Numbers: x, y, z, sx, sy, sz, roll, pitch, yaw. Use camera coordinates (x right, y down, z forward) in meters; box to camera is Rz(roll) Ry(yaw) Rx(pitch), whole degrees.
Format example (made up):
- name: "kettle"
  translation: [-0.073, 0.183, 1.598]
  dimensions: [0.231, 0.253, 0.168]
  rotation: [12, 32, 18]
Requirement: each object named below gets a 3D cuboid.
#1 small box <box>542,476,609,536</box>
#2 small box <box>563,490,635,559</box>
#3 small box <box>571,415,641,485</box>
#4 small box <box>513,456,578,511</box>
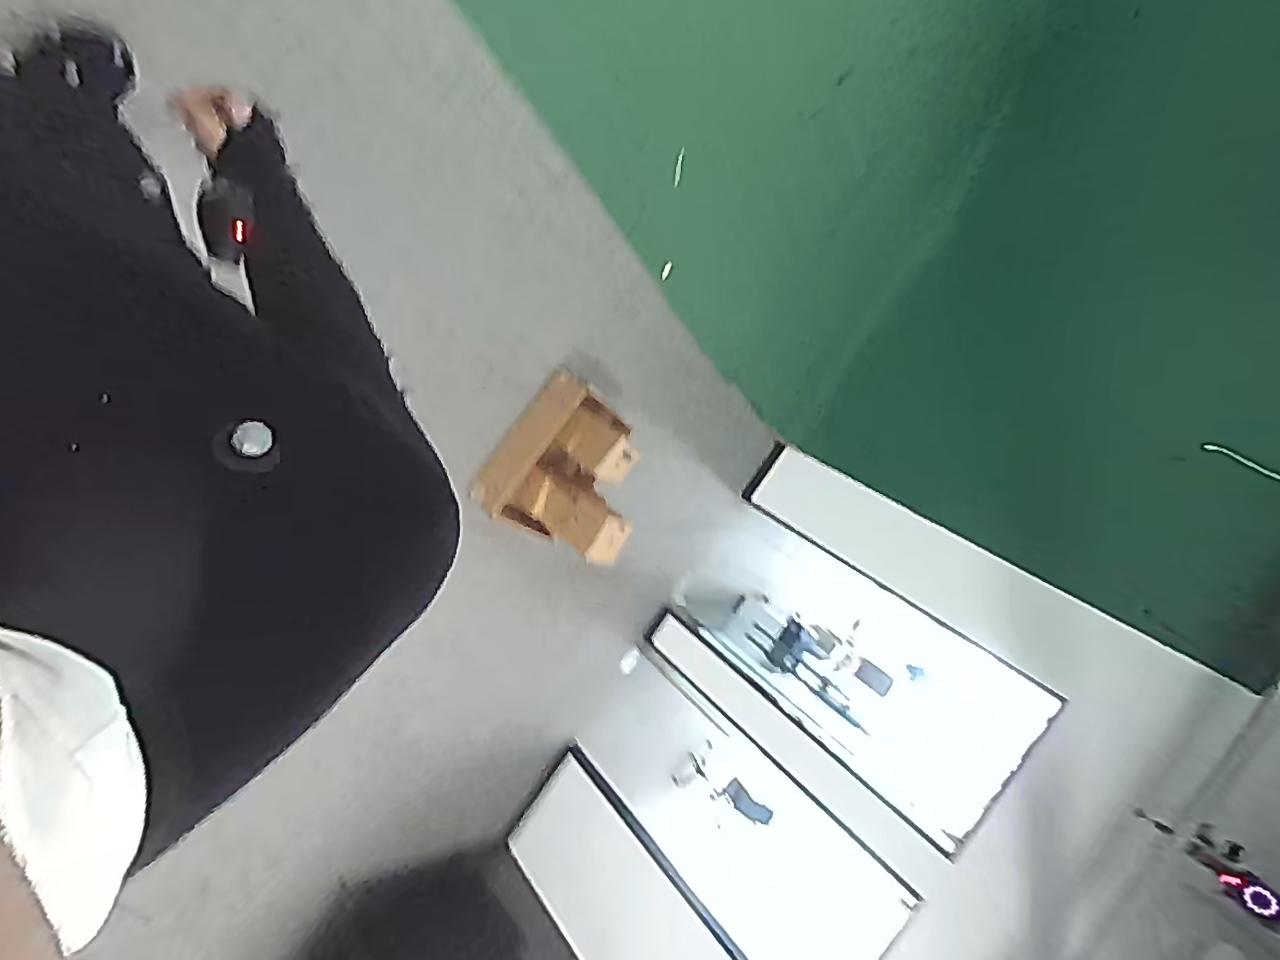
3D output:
- name: "small box"
  translation: [-0.257, 0.097, 2.120]
  dimensions: [0.179, 0.176, 0.168]
  rotation: [-6, 123, -48]
- name: "small box"
  translation: [-0.160, 0.166, 2.005]
  dimensions: [0.168, 0.176, 0.179]
  rotation: [23, 101, -54]
- name: "small box"
  translation: [-0.132, -0.119, 2.079]
  dimensions: [0.179, 0.176, 0.168]
  rotation: [-51, 146, -3]
- name: "small box"
  translation: [-0.385, 0.016, 2.187]
  dimensions: [0.179, 0.176, 0.168]
  rotation: [9, 112, -53]
